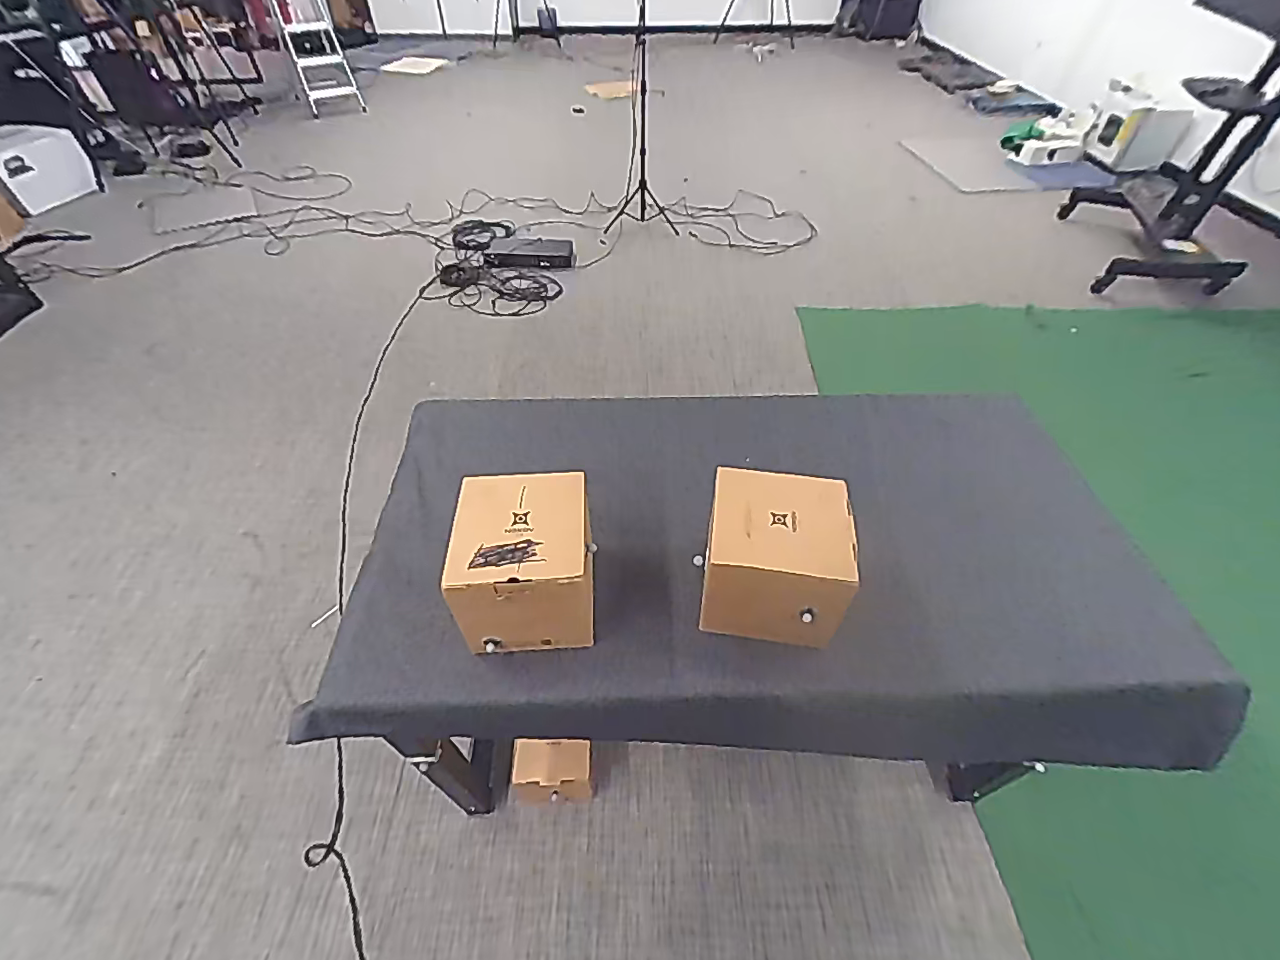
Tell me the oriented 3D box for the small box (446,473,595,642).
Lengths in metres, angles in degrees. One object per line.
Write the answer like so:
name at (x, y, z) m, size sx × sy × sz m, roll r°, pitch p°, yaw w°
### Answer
small box at (-0.148, 0.111, 0.742) m, size 0.168 × 0.176 × 0.179 m, roll -2°, pitch 46°, yaw -3°

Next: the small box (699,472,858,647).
small box at (0.182, 0.113, 0.749) m, size 0.179 × 0.176 × 0.168 m, roll 6°, pitch 47°, yaw 7°

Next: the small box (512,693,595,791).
small box at (-0.194, 0.619, 1.269) m, size 0.168 × 0.176 × 0.179 m, roll -1°, pitch 48°, yaw -1°
